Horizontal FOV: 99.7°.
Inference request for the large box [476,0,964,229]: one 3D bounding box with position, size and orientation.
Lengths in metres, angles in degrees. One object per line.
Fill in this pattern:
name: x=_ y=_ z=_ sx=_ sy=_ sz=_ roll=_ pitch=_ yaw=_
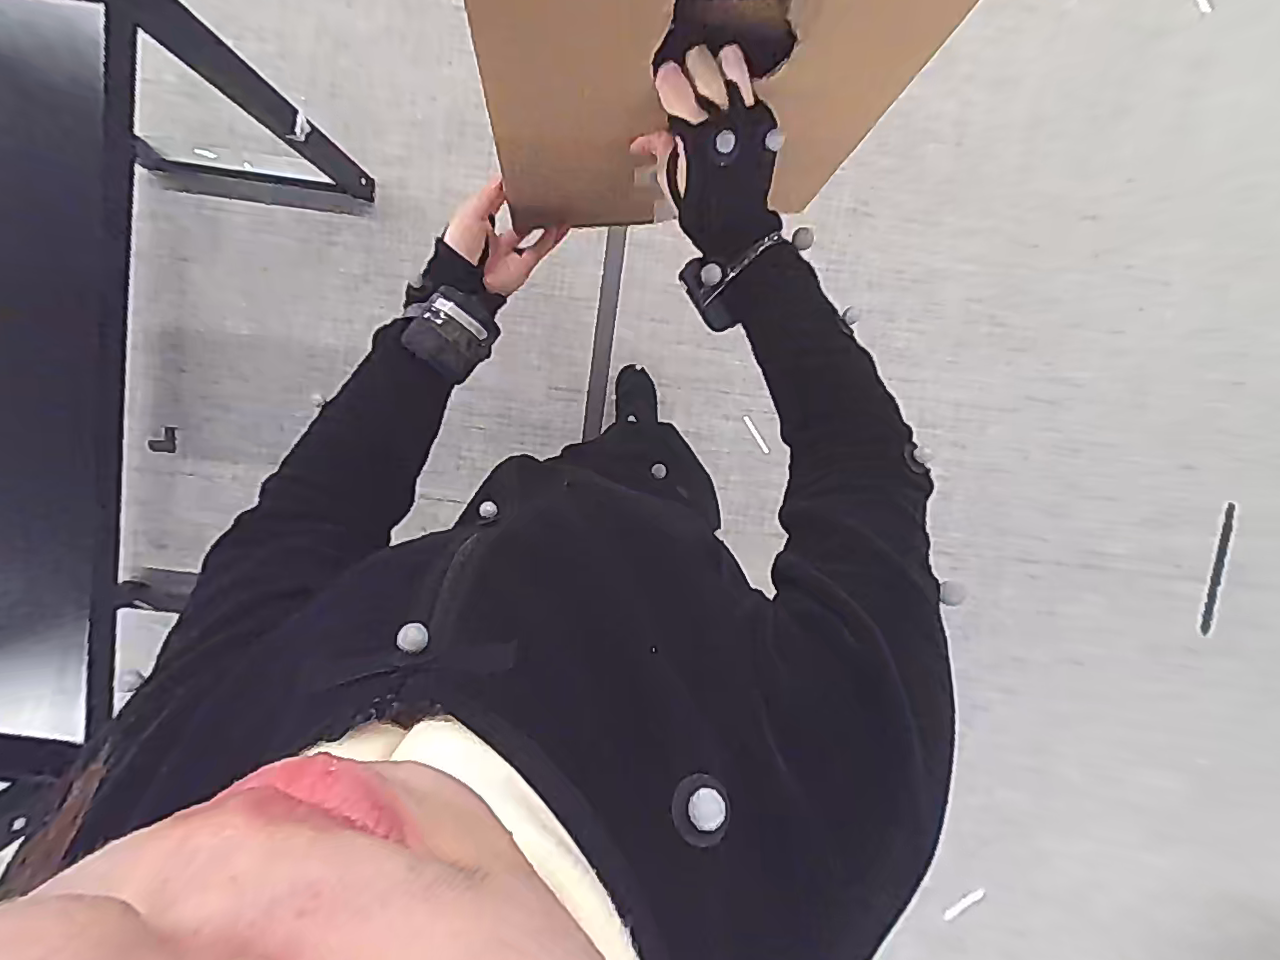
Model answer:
large box: x=0.022 y=-0.469 z=0.415 sx=0.320 sy=0.320 sz=0.408 roll=-6 pitch=88 yaw=-8
